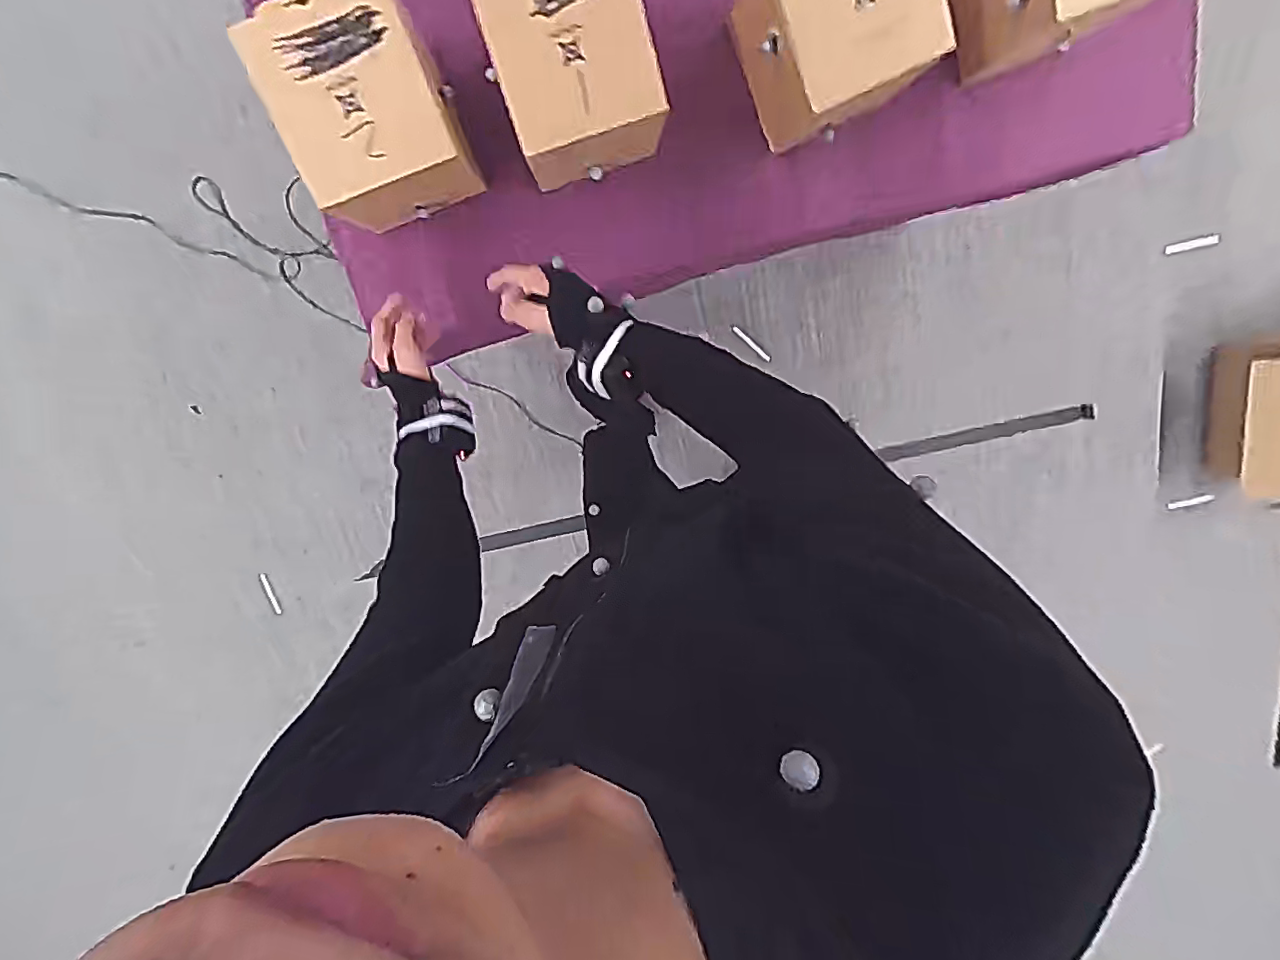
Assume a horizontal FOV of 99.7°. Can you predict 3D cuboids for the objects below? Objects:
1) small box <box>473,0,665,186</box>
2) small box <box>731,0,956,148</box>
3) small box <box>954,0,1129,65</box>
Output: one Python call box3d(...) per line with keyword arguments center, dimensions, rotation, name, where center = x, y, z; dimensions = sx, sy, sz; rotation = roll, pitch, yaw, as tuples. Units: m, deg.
box3d(center=(-0.080, -0.474, 0.628), dimensions=(0.168, 0.176, 0.179), rotation=(-18, 107, 2), name="small box")
box3d(center=(0.221, -0.531, 0.629), dimensions=(0.168, 0.176, 0.179), rotation=(-24, 106, 5), name="small box")
box3d(center=(0.484, -0.617, 0.616), dimensions=(0.168, 0.176, 0.179), rotation=(-20, 106, 3), name="small box")
